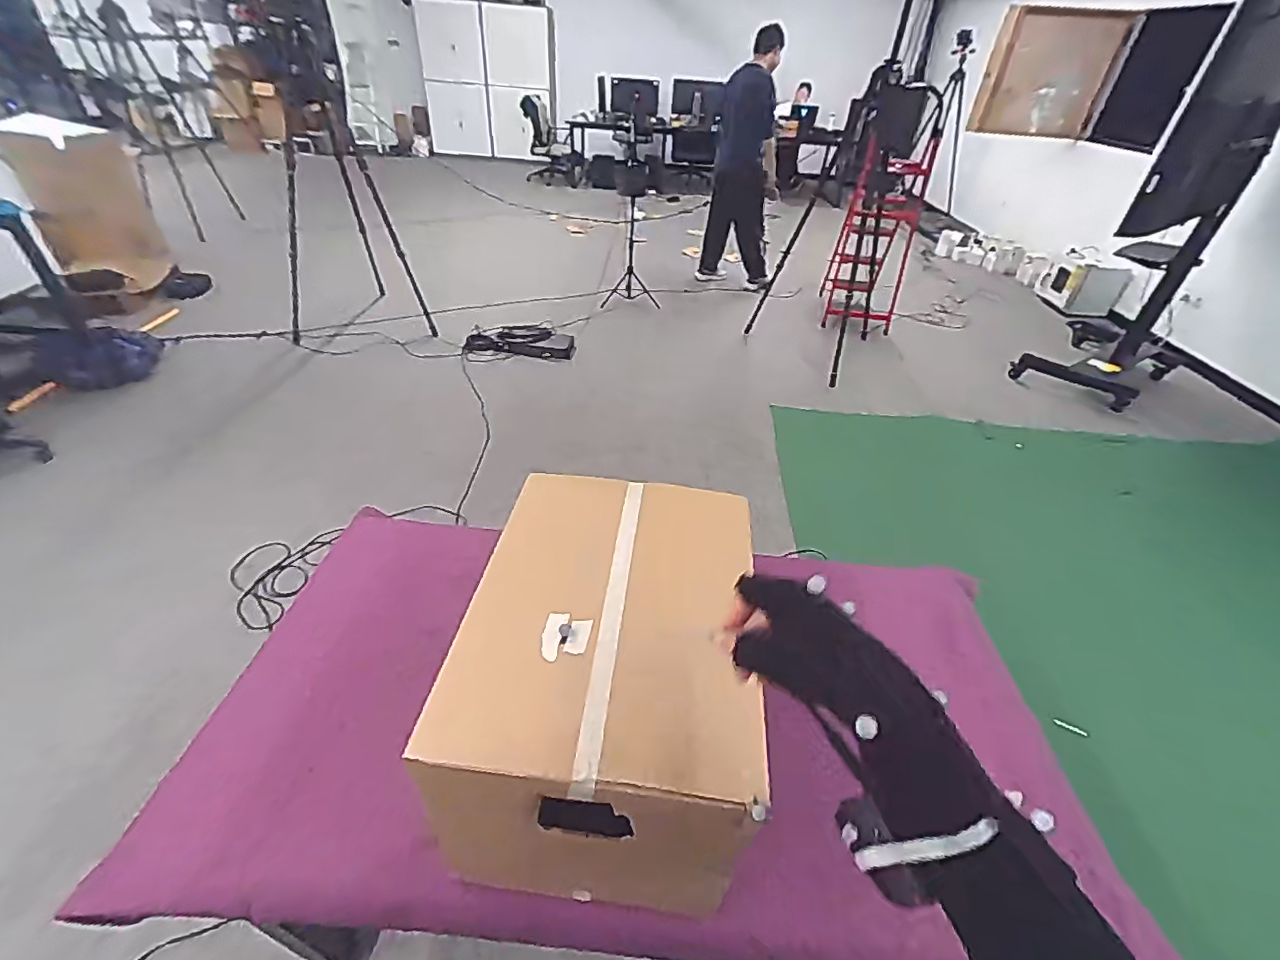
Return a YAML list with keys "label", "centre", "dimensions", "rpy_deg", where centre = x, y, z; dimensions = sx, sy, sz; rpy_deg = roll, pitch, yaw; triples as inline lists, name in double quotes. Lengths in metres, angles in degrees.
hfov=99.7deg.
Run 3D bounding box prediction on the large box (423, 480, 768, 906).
- label: "large box"
  centre: [-0.034, 0.255, 0.712]
  dimensions: [0.320, 0.320, 0.408]
  rpy_deg: [7, 39, 3]
